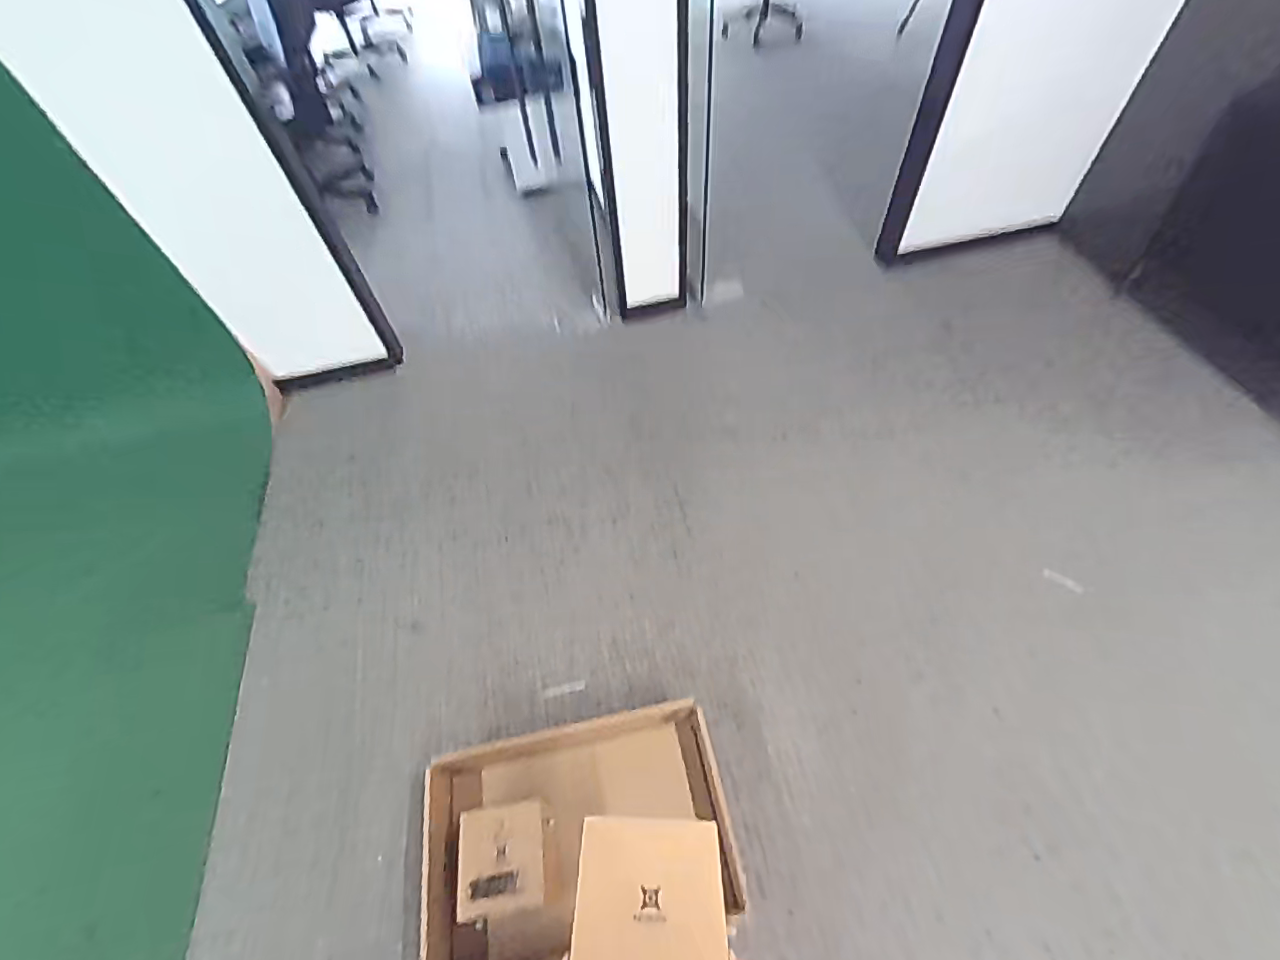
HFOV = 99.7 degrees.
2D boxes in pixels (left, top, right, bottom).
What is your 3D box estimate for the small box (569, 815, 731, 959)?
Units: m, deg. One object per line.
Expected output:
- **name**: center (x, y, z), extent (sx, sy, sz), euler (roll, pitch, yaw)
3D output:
- **small box**: center (0.006, 0.524, 0.624), extent (0.168, 0.176, 0.179), euler (4, 33, -1)
